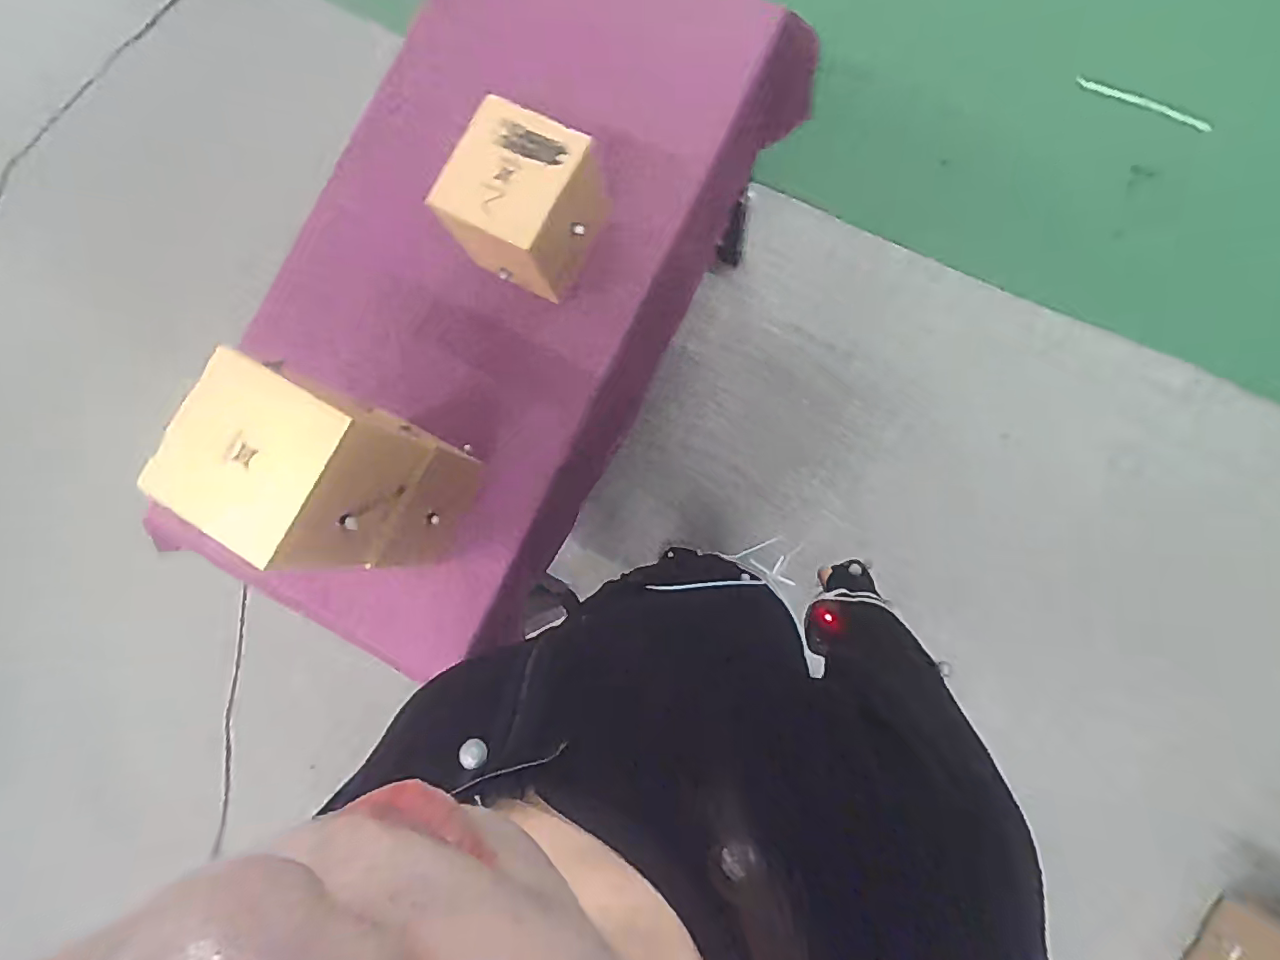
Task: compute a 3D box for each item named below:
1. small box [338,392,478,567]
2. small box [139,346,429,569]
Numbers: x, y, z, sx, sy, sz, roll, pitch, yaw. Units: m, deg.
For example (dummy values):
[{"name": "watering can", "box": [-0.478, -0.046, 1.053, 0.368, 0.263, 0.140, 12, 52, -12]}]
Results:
[{"name": "small box", "box": [-0.355, 0.006, 0.765, 0.168, 0.176, 0.179, 27, 87, 10]}, {"name": "small box", "box": [-0.376, -0.017, 0.606, 0.179, 0.176, 0.168, 28, 87, 11]}]
